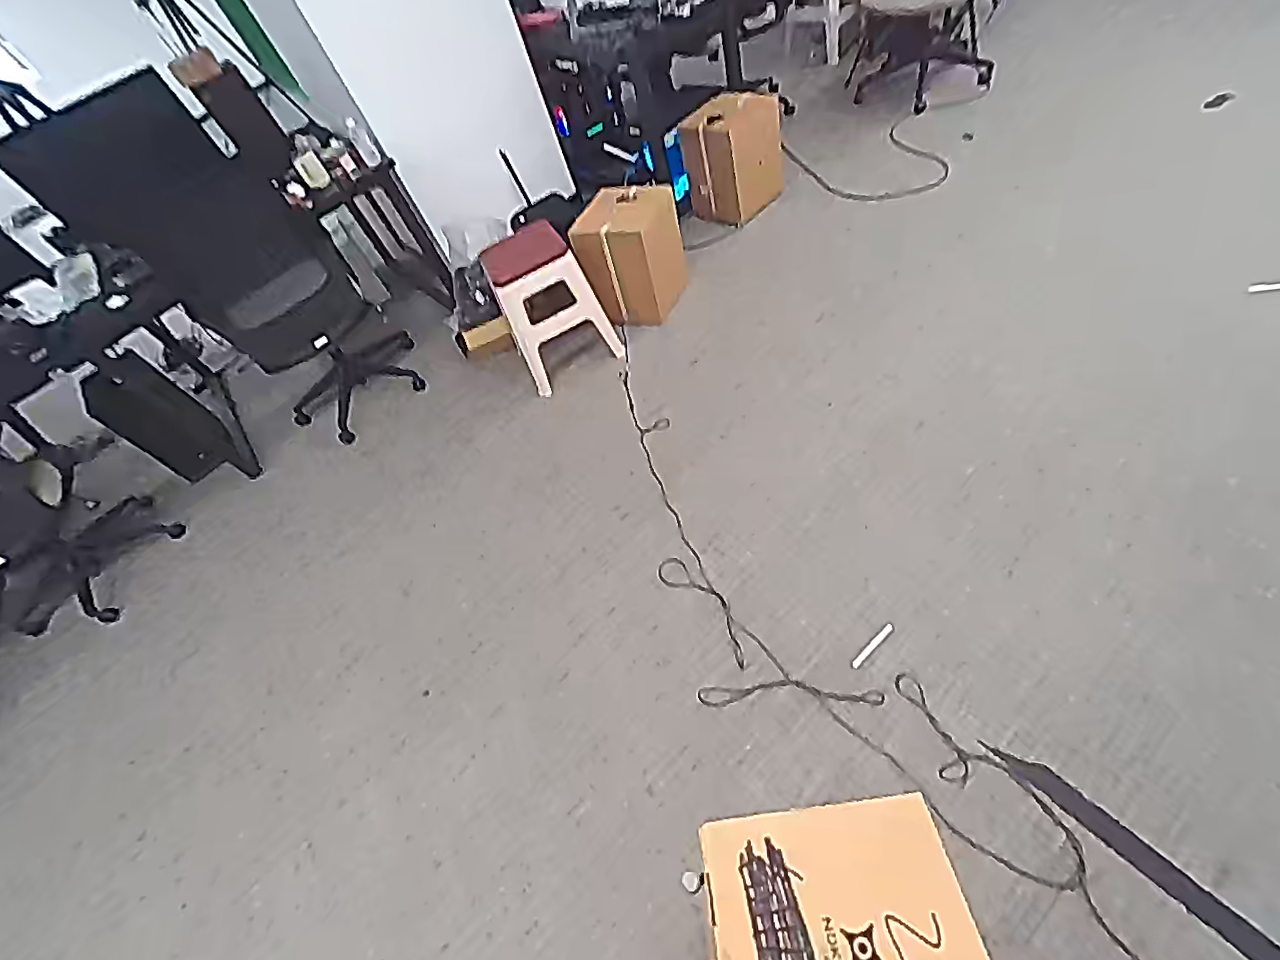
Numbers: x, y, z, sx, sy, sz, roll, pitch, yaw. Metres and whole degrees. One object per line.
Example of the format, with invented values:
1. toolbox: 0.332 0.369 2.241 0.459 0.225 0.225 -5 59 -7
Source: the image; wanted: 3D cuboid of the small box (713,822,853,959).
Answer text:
1. small box: 0.257 0.763 0.978 0.168 0.176 0.179 -36 52 -9
